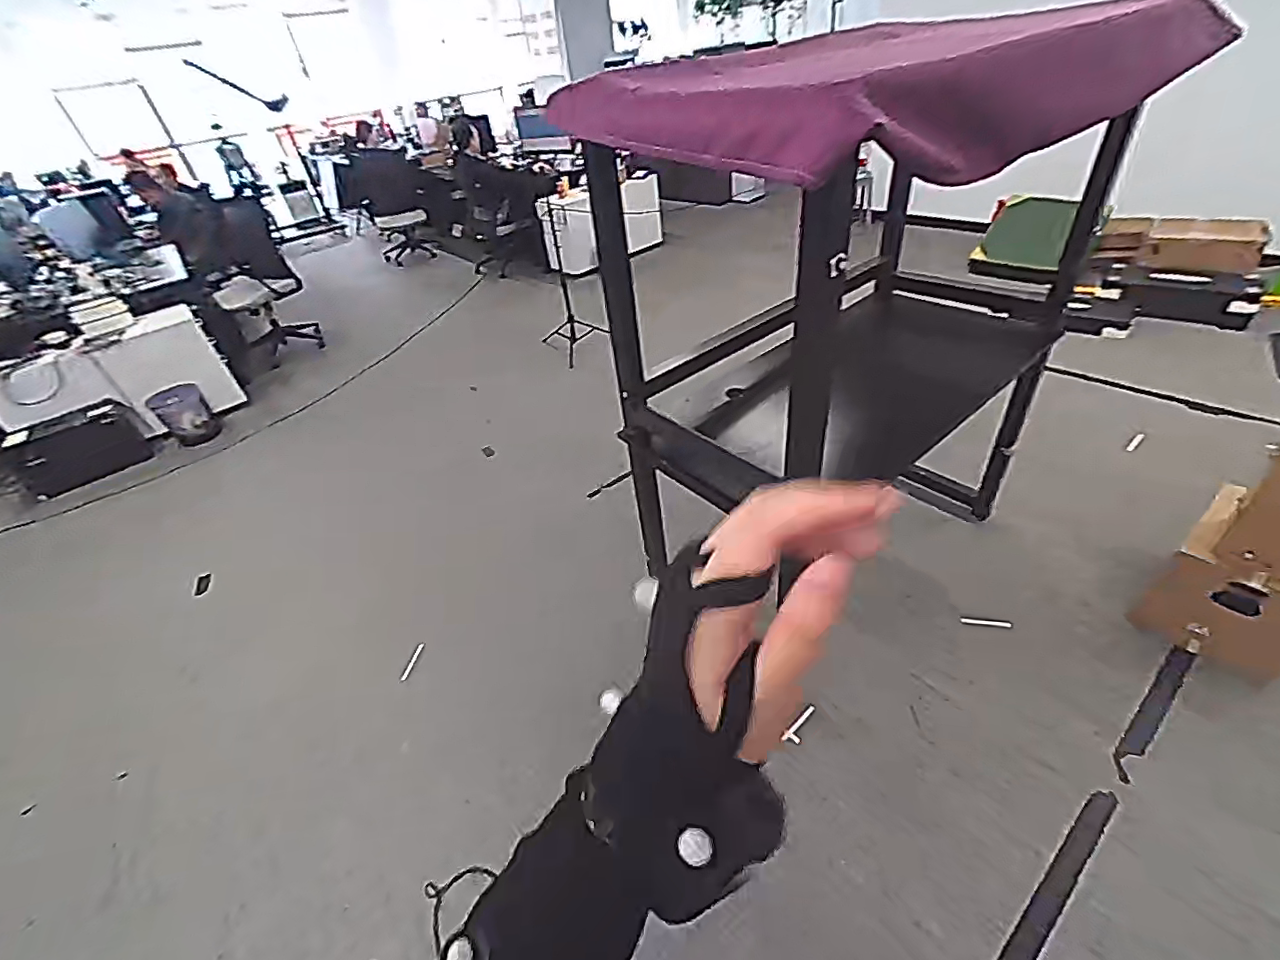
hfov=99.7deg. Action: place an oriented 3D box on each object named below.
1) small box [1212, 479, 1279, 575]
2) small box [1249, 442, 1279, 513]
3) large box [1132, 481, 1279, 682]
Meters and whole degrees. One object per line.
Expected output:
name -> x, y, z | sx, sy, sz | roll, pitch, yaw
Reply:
small box -> 1.607, 0.109, 1.360 | 0.179, 0.176, 0.168 | -32, 43, -25
small box -> 1.584, -0.018, 1.258 | 0.179, 0.176, 0.168 | -33, 43, -29
large box -> 1.704, 0.275, 1.526 | 0.408, 0.320, 0.320 | -30, 44, -25
